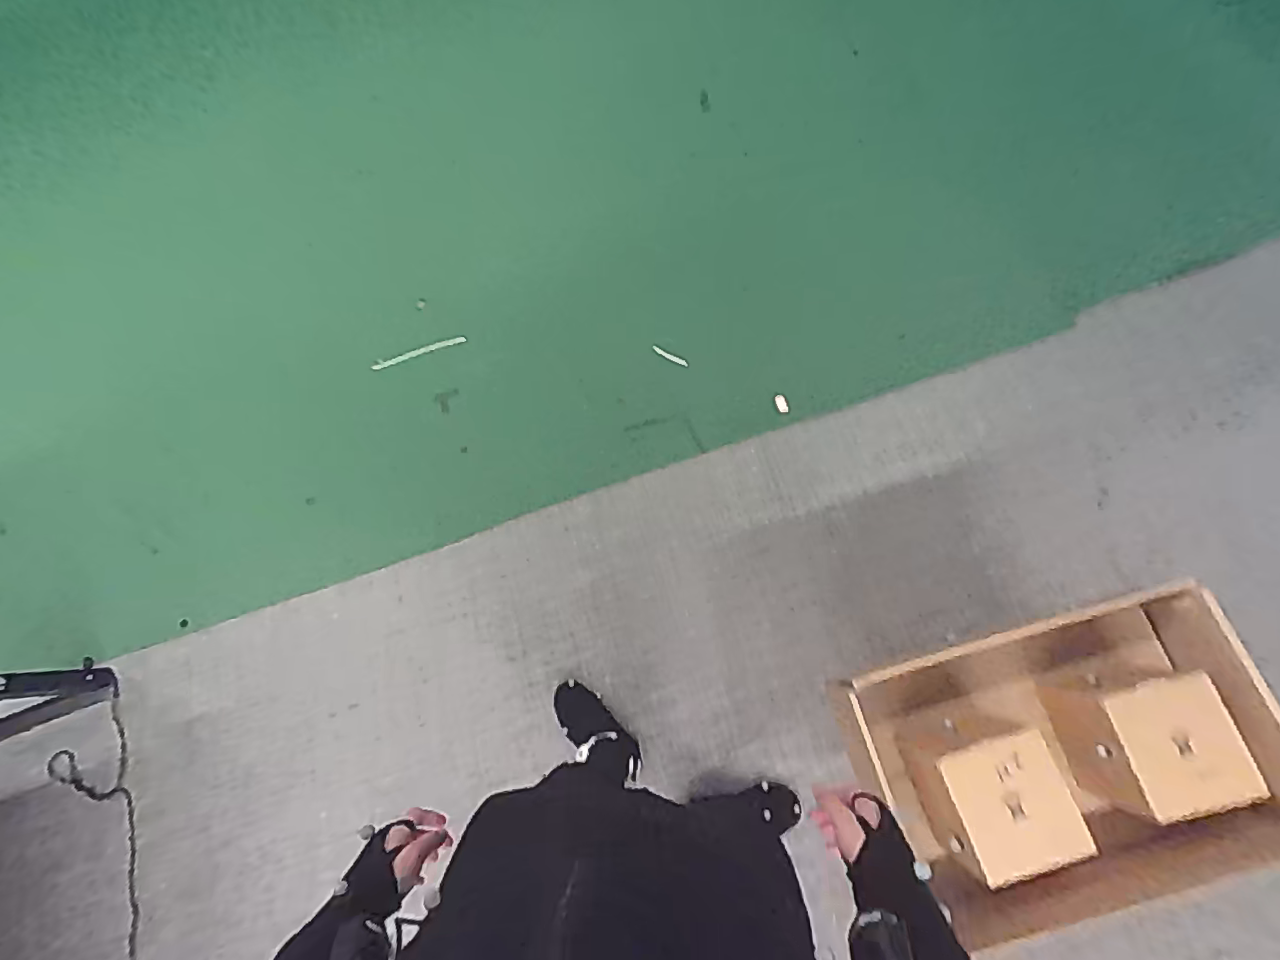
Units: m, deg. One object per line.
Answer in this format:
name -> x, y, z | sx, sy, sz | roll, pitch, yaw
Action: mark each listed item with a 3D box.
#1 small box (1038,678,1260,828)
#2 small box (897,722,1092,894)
small box -> 0.807, 0.430, 0.883 | 0.168, 0.176, 0.179 | -14, 73, 0
small box -> 0.552, 0.512, 0.871 | 0.168, 0.176, 0.179 | -17, 72, -2
